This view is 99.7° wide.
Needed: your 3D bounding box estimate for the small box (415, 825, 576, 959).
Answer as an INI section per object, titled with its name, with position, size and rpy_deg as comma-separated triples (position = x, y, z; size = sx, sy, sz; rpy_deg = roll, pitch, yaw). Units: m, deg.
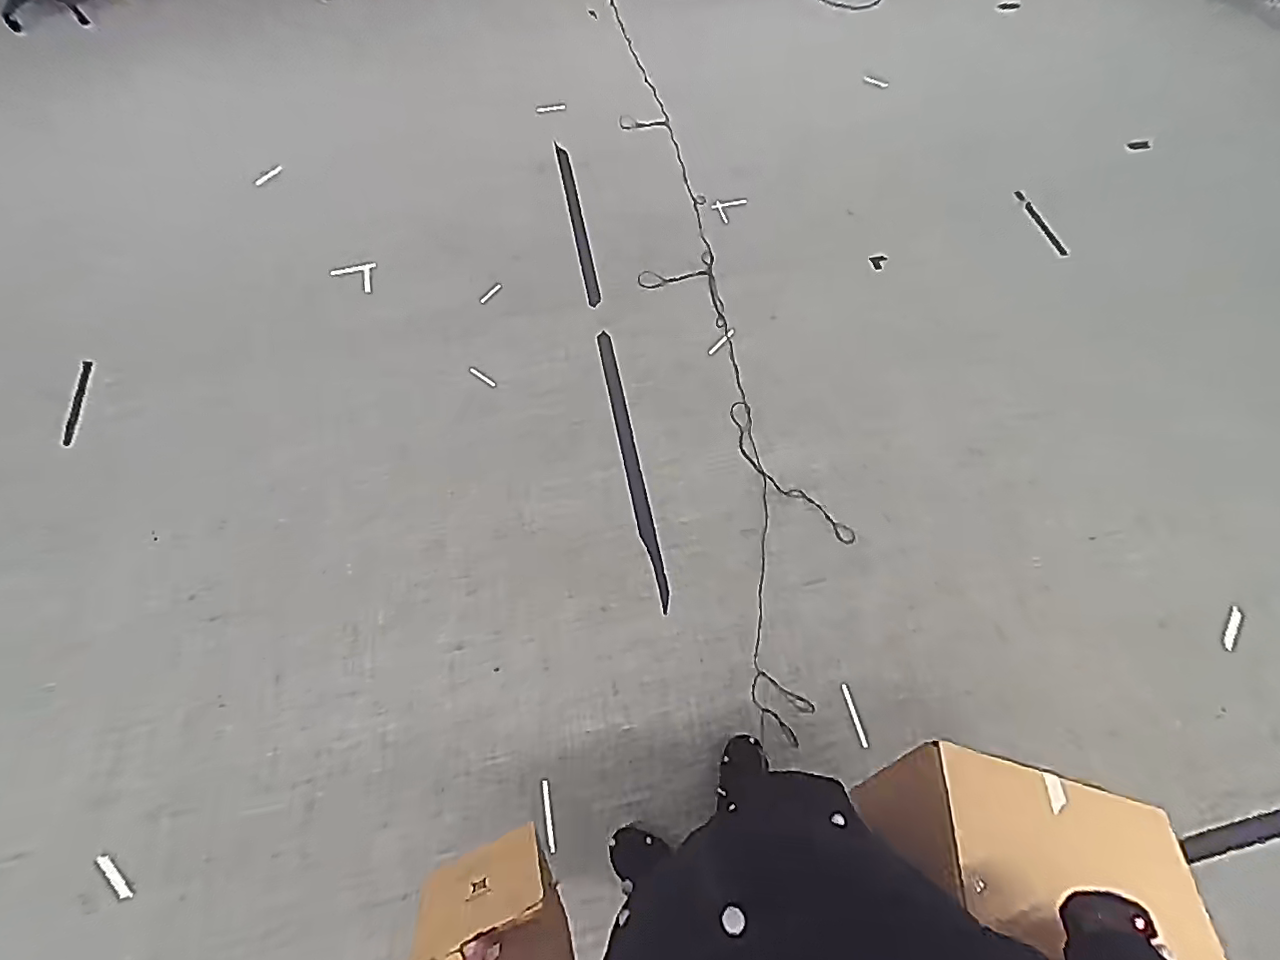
[small box]
position = -0.185, 0.626, 0.727
size = 0.168, 0.179, 0.176
rpy_deg = -19, 94, -15
